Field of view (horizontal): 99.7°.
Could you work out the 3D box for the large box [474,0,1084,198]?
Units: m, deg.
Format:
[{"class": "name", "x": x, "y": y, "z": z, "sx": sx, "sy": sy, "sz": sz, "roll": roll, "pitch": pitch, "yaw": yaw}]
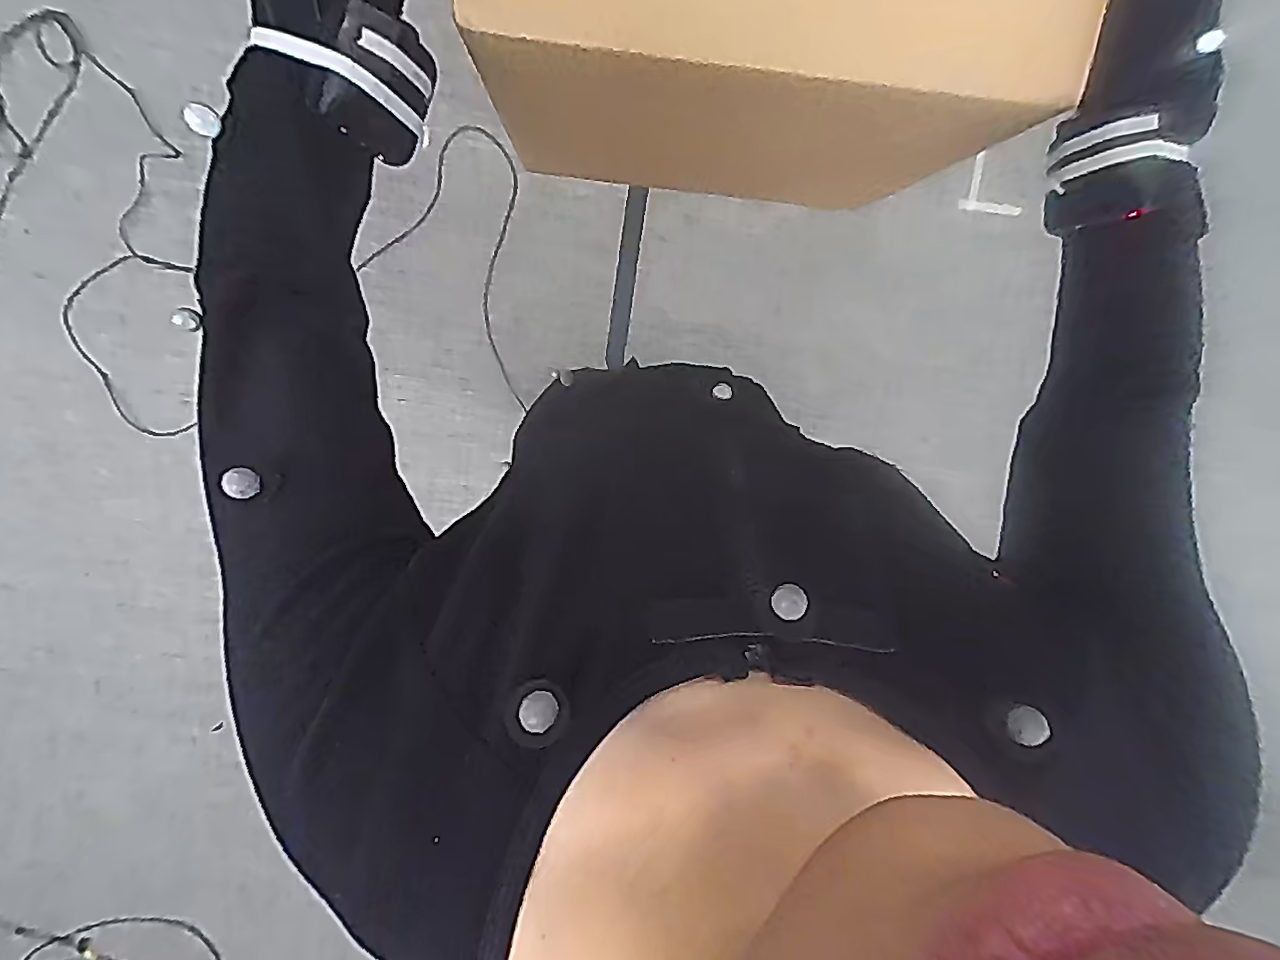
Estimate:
[{"class": "large box", "x": 0.088, "y": -0.456, "z": 0.457, "sx": 0.408, "sy": 0.320, "sz": 0.320, "roll": 3, "pitch": 106, "yaw": -6}]
